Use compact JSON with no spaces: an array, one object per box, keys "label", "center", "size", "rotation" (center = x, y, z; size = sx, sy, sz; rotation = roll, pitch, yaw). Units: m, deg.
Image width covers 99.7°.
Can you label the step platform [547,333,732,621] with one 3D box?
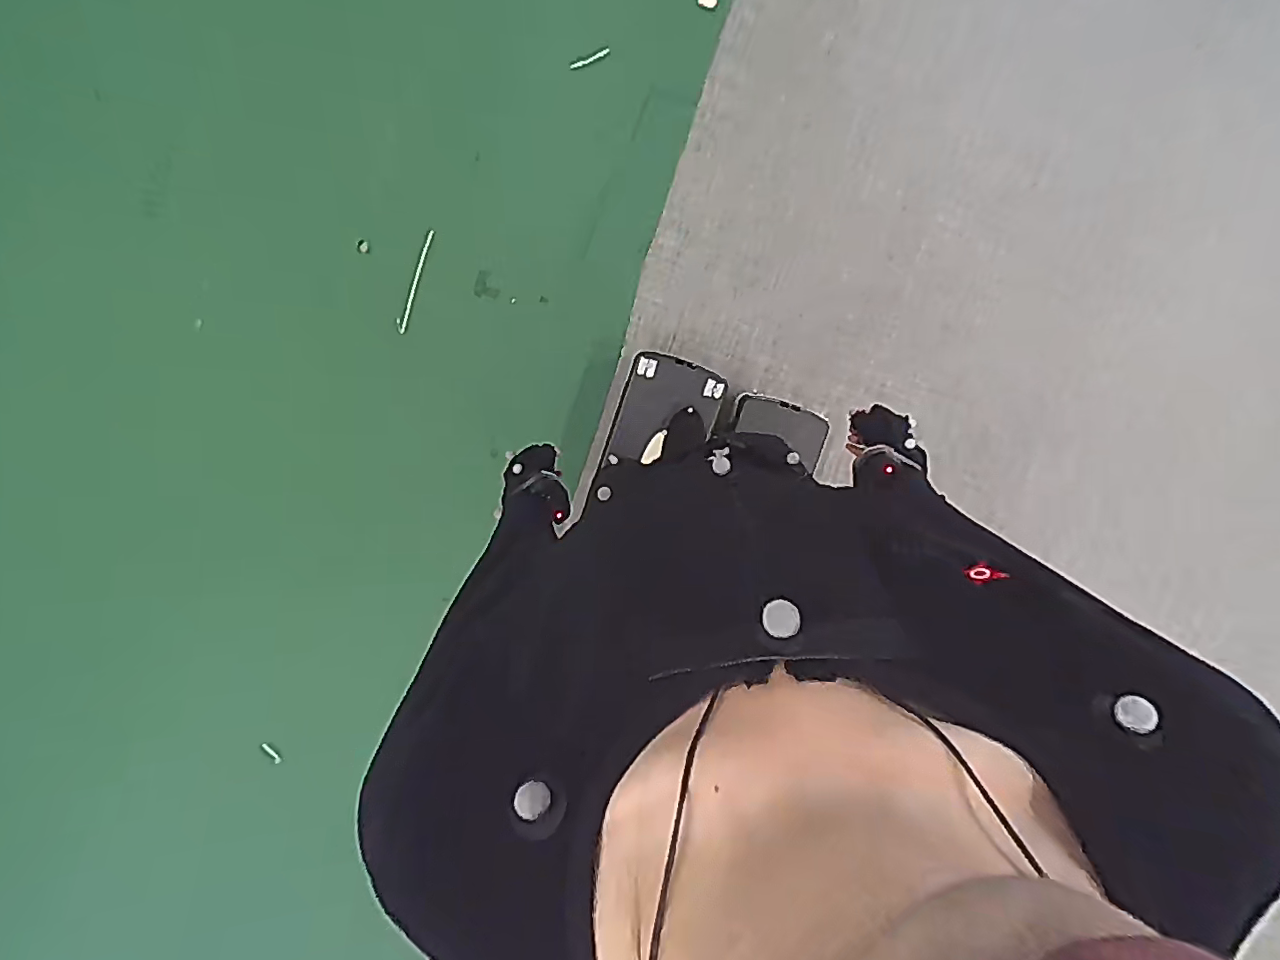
[{"label":"step platform","center":[-0.005,-0.008,1.382],"size":[0.286,0.204,0.684],"rotation":[18,96,-3]}]
